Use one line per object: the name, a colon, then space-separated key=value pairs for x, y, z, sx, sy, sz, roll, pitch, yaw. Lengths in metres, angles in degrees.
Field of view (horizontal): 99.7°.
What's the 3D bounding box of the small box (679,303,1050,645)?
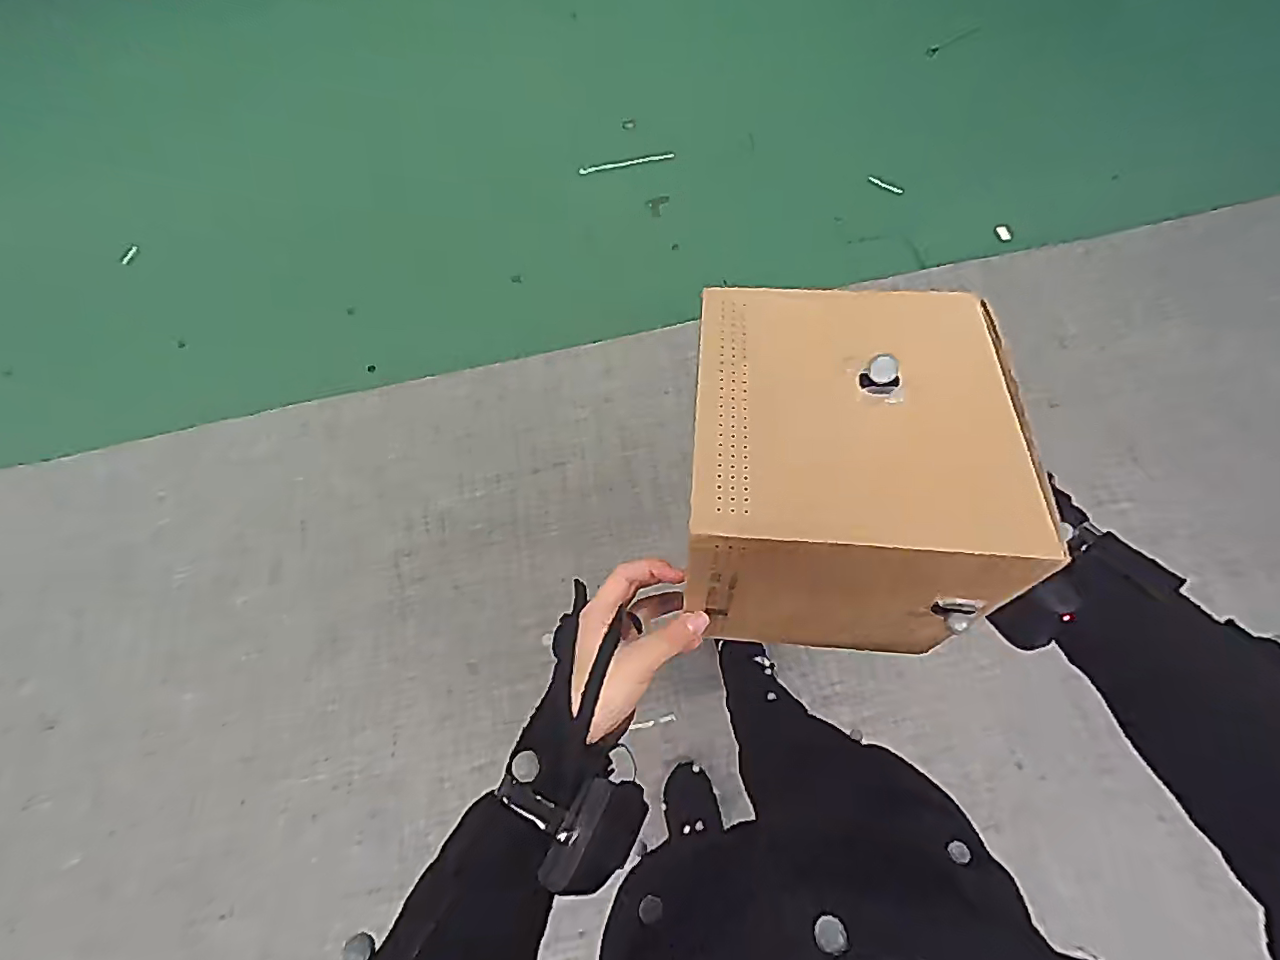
small box: x=0.117 y=-0.002 z=0.366 sx=0.176 sy=0.168 sz=0.179 roll=2 pitch=58 yaw=5
